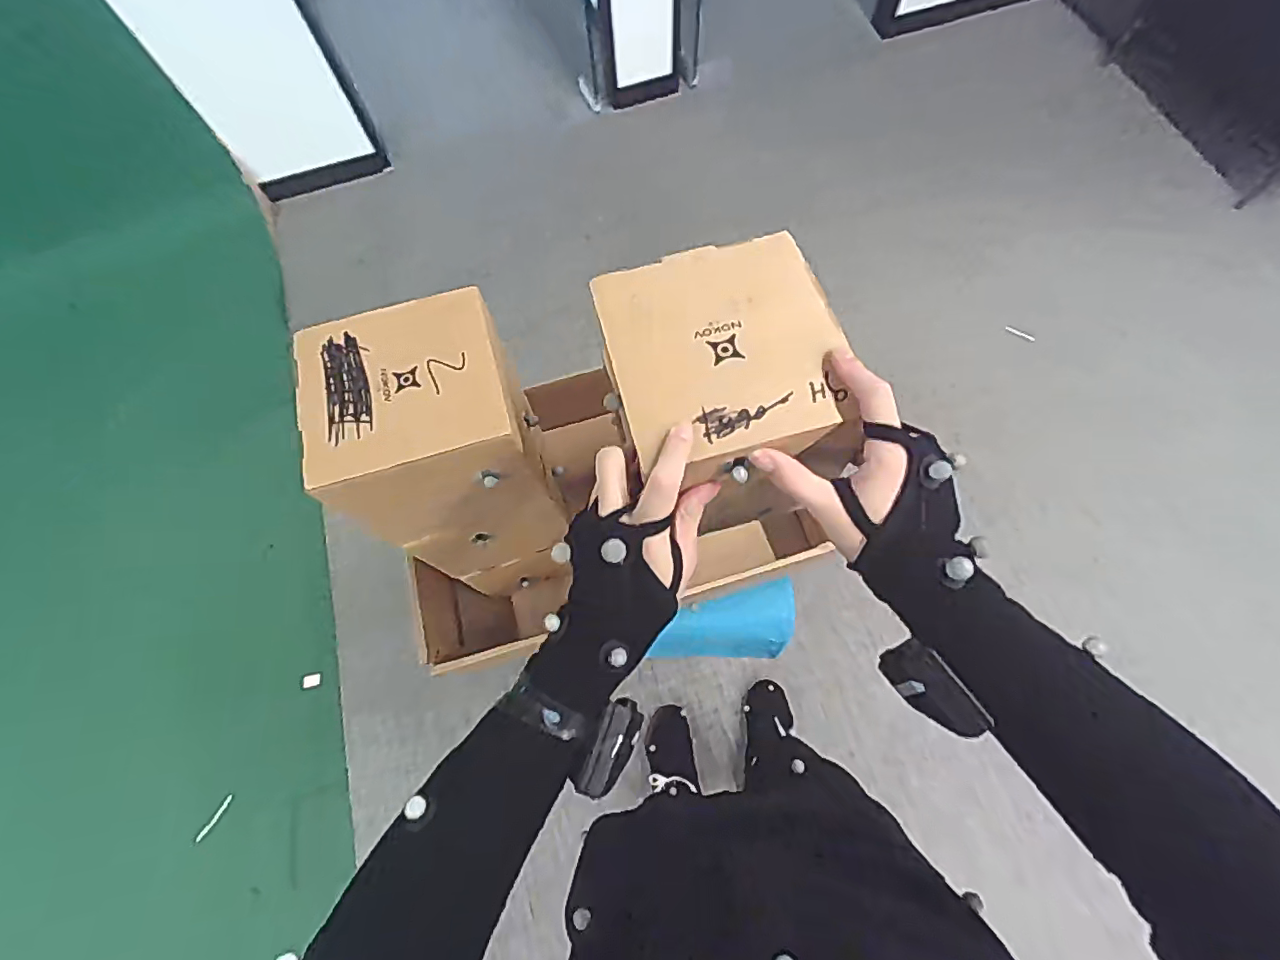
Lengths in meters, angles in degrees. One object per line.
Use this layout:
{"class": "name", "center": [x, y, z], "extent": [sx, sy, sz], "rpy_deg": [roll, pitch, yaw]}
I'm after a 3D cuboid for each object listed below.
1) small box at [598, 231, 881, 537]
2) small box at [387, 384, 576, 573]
{"class": "small box", "center": [0.068, -0.071, 0.464], "extent": [0.168, 0.176, 0.179], "rpy_deg": [-15, 67, -1]}
{"class": "small box", "center": [-0.196, 0.007, 0.700], "extent": [0.179, 0.176, 0.168], "rpy_deg": [-17, 69, -5]}
